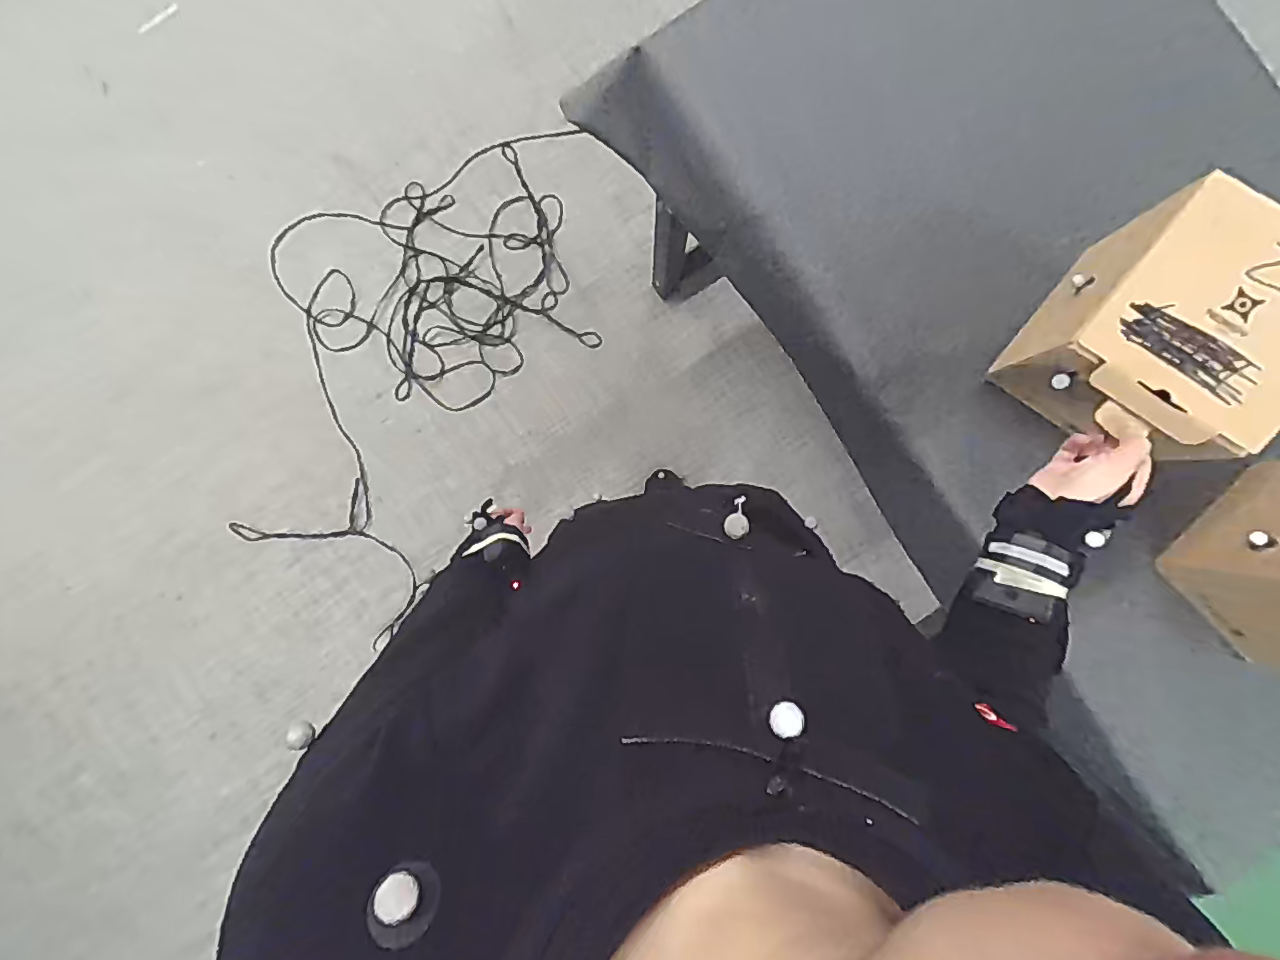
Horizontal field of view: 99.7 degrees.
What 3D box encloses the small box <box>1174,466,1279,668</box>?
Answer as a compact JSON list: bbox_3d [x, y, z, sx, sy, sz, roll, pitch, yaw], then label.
[{"bbox_3d":[0.716,0.096,0.548,0.179,0.176,0.168,-44,90,-2],"label":"small box"}]
